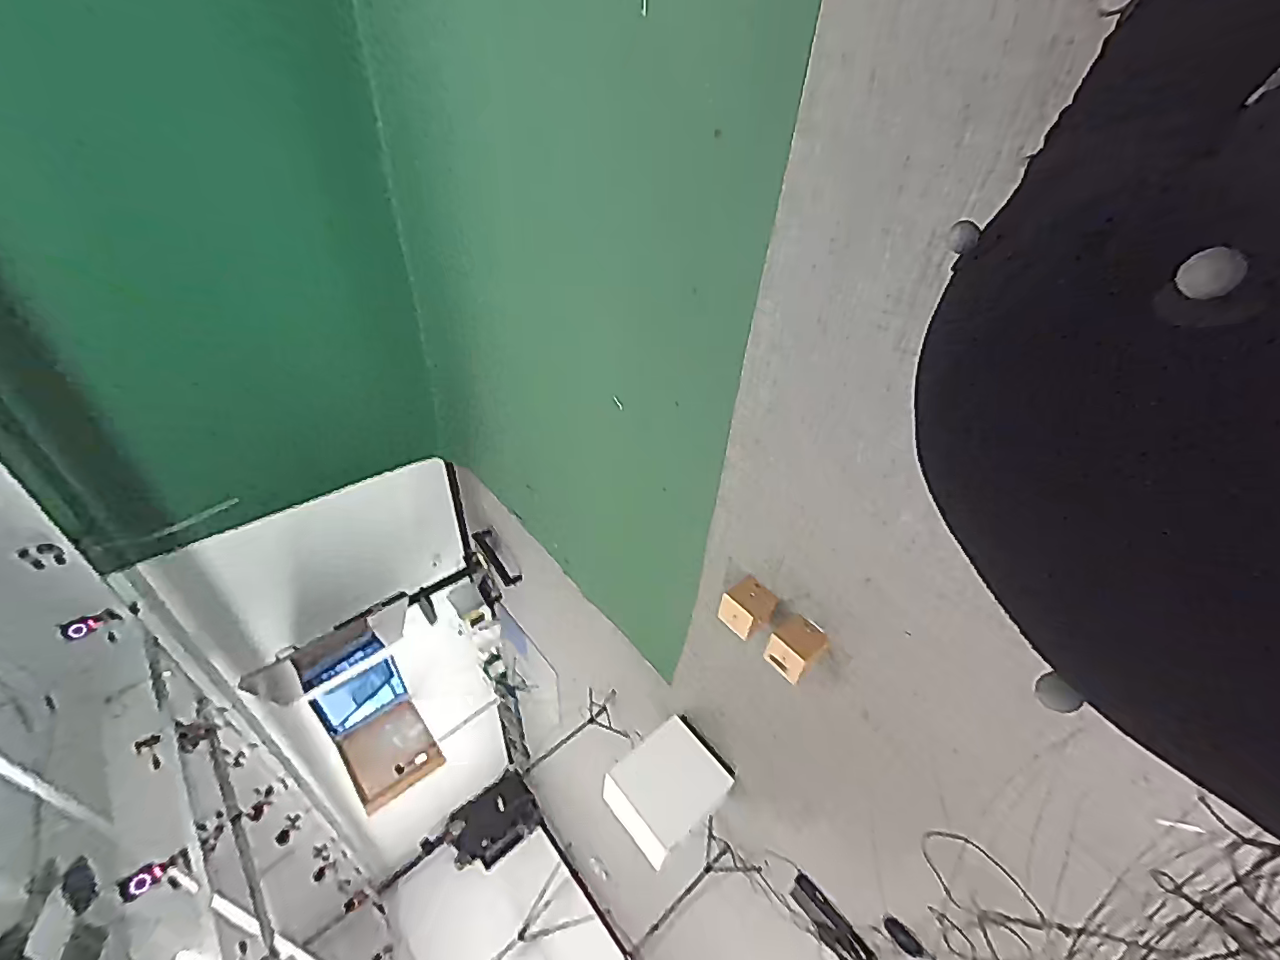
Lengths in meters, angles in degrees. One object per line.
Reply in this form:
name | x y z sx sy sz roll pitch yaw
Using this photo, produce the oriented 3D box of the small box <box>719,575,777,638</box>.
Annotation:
small box | 0.474 0.547 2.360 0.168 0.176 0.179 40 141 34
